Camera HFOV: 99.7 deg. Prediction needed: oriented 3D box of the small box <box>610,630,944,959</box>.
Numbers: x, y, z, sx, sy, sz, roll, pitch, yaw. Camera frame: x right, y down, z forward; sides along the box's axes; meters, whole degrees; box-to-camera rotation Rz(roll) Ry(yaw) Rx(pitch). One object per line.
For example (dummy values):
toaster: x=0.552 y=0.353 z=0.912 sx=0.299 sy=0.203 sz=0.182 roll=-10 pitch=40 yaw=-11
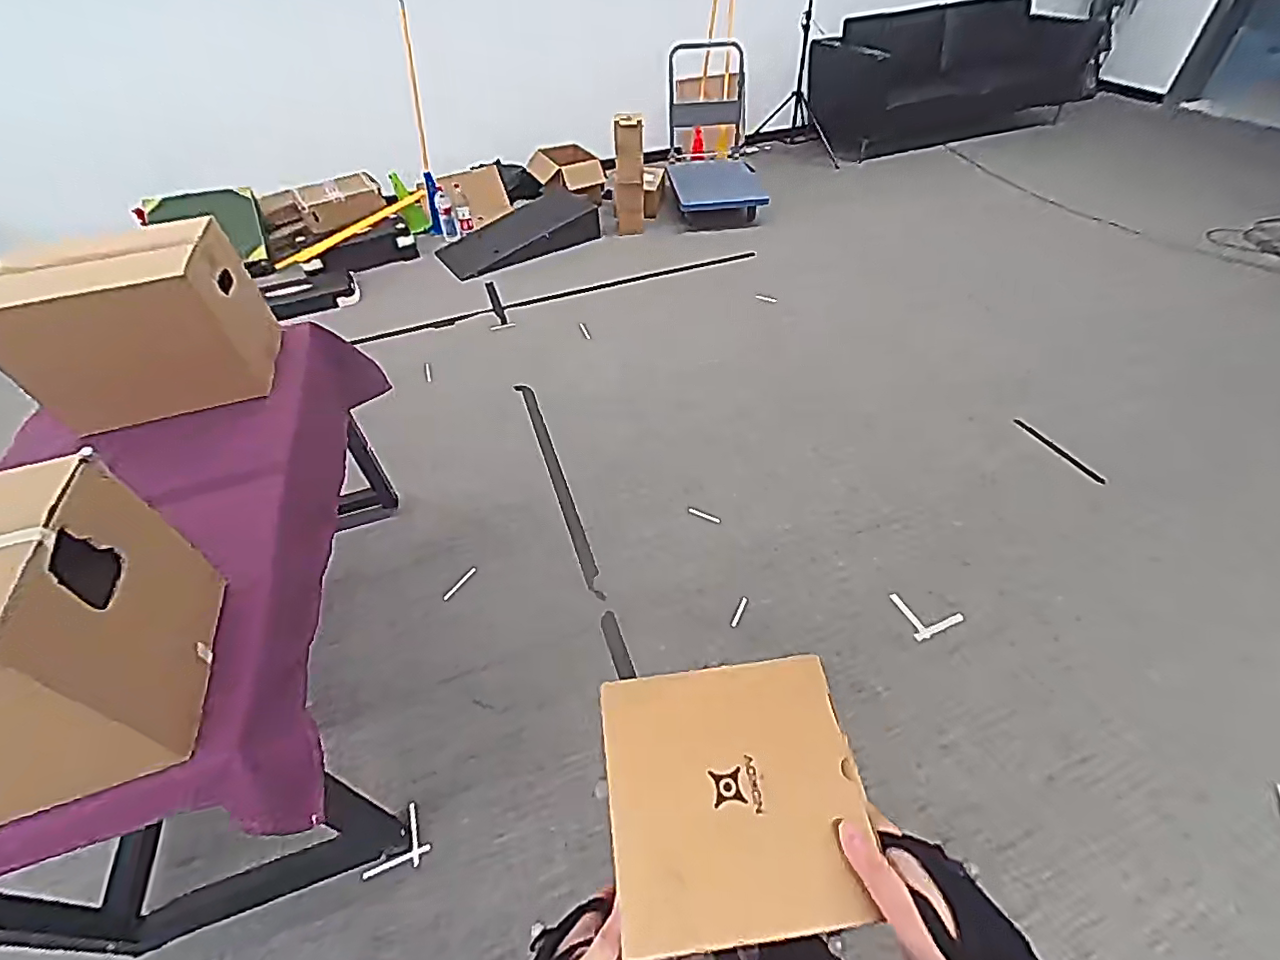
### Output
small box: x=0.086 y=0.237 z=0.402 sx=0.168 sy=0.176 sz=0.179 roll=5 pitch=32 yaw=-18
